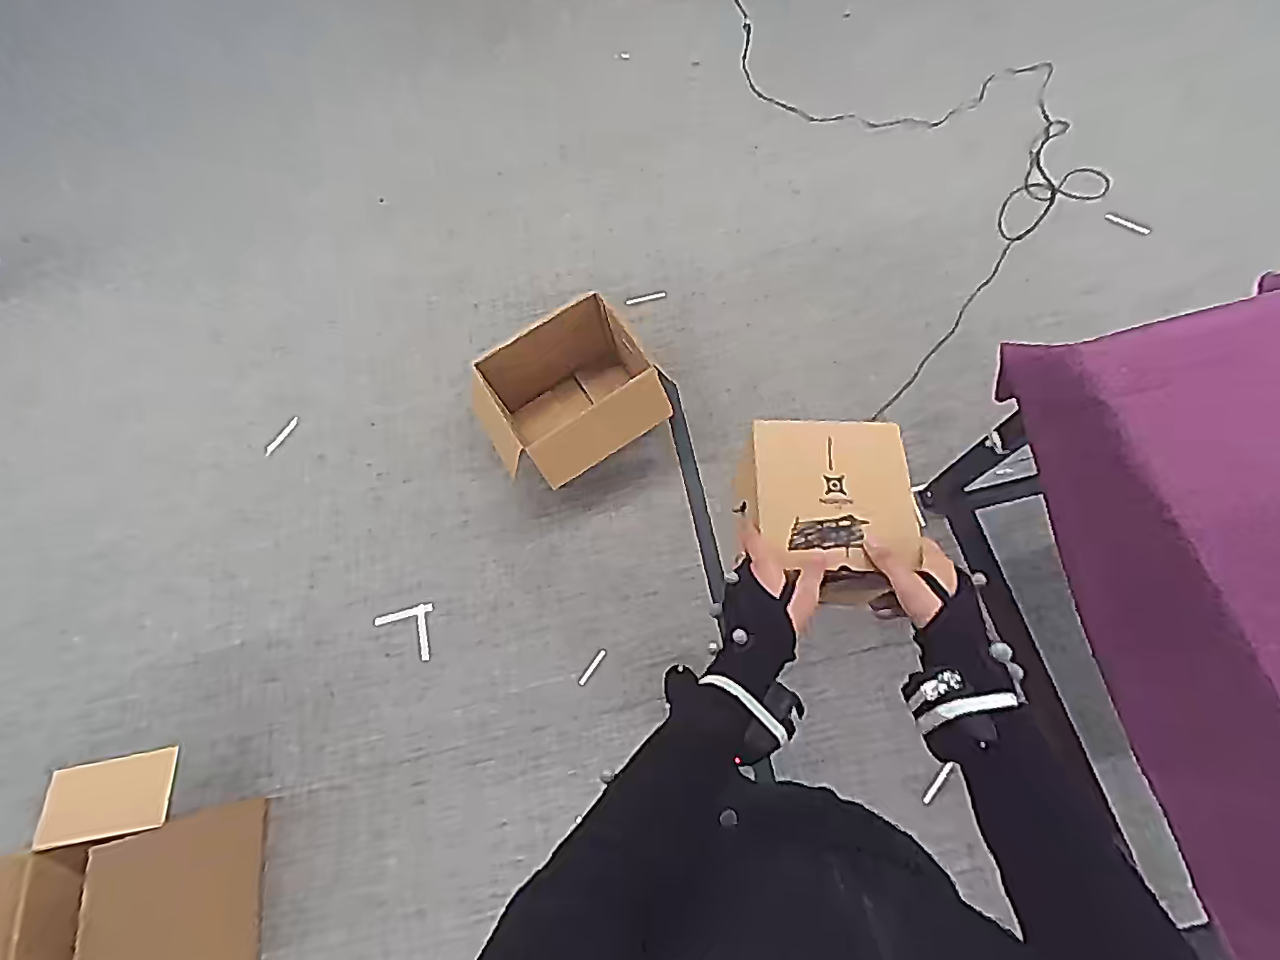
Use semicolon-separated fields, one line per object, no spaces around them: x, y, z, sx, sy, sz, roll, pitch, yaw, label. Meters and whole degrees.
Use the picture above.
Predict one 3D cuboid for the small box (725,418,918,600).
0.197;0.043;0.642;0.168;0.176;0.179;0;65;0;small box
